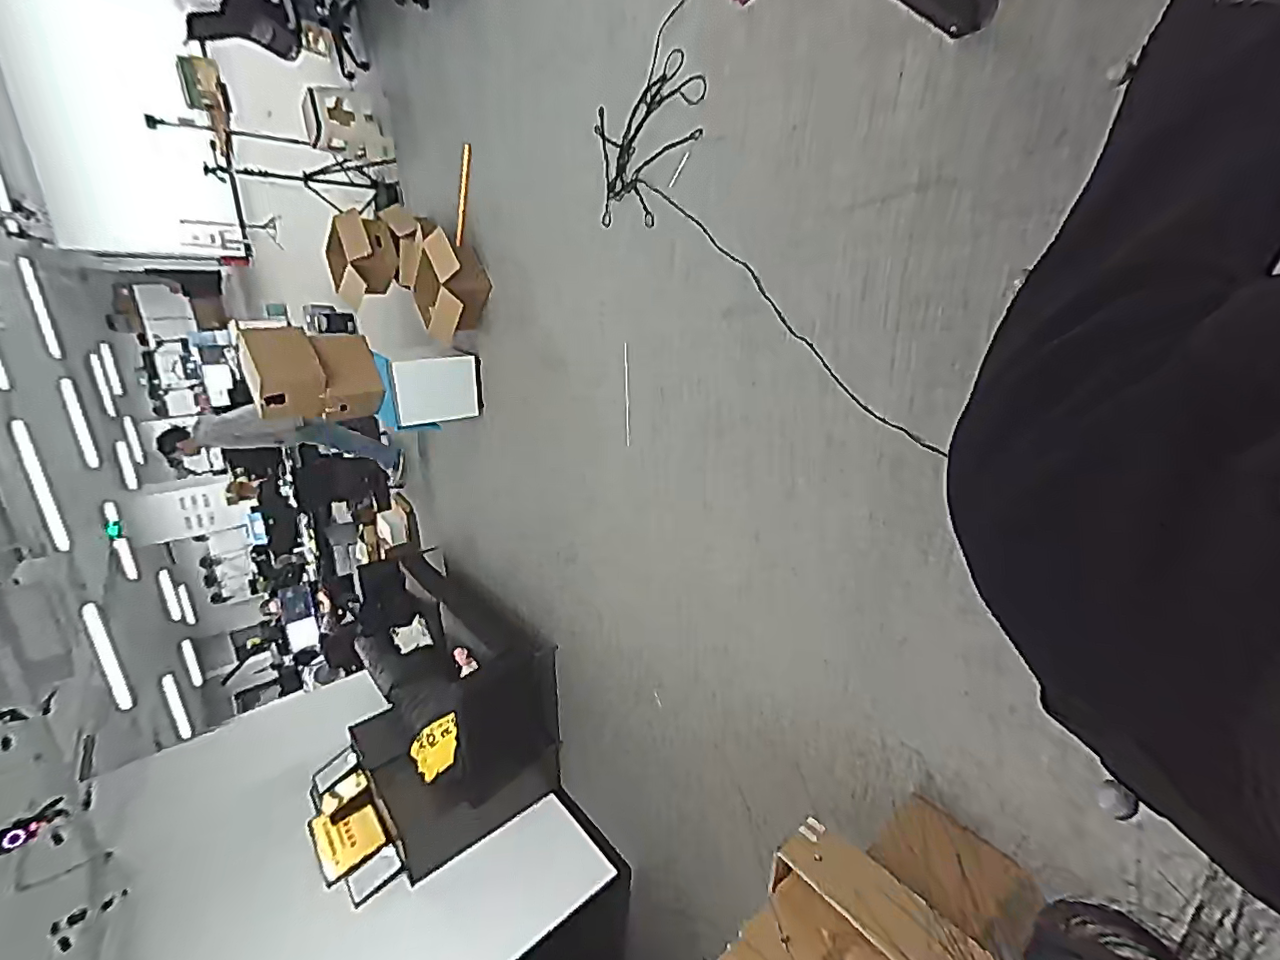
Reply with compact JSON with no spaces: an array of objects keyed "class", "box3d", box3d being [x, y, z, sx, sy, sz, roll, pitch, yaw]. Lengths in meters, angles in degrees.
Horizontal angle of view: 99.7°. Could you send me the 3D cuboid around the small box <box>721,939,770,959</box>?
[{"class":"small box","box3d":[0.260,1.277,1.314,0.179,0.176,0.168,27,122,44]}]
